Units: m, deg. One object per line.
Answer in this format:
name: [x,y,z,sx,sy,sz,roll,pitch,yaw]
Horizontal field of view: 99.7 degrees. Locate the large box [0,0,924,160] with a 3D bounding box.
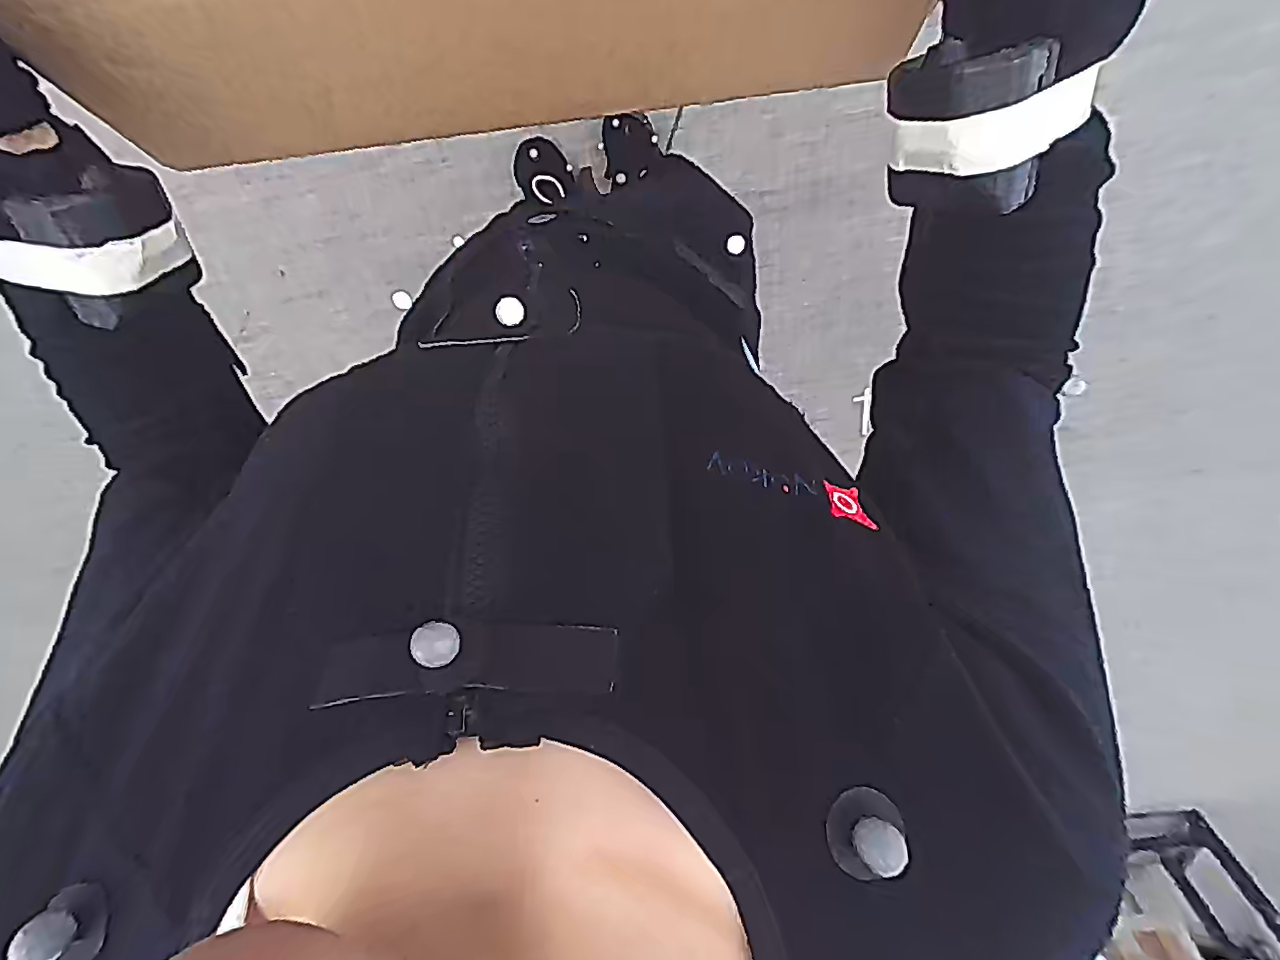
large box: [-0.086,-0.367,0.166,0.408,0.320,0.320,-5,85,3]
